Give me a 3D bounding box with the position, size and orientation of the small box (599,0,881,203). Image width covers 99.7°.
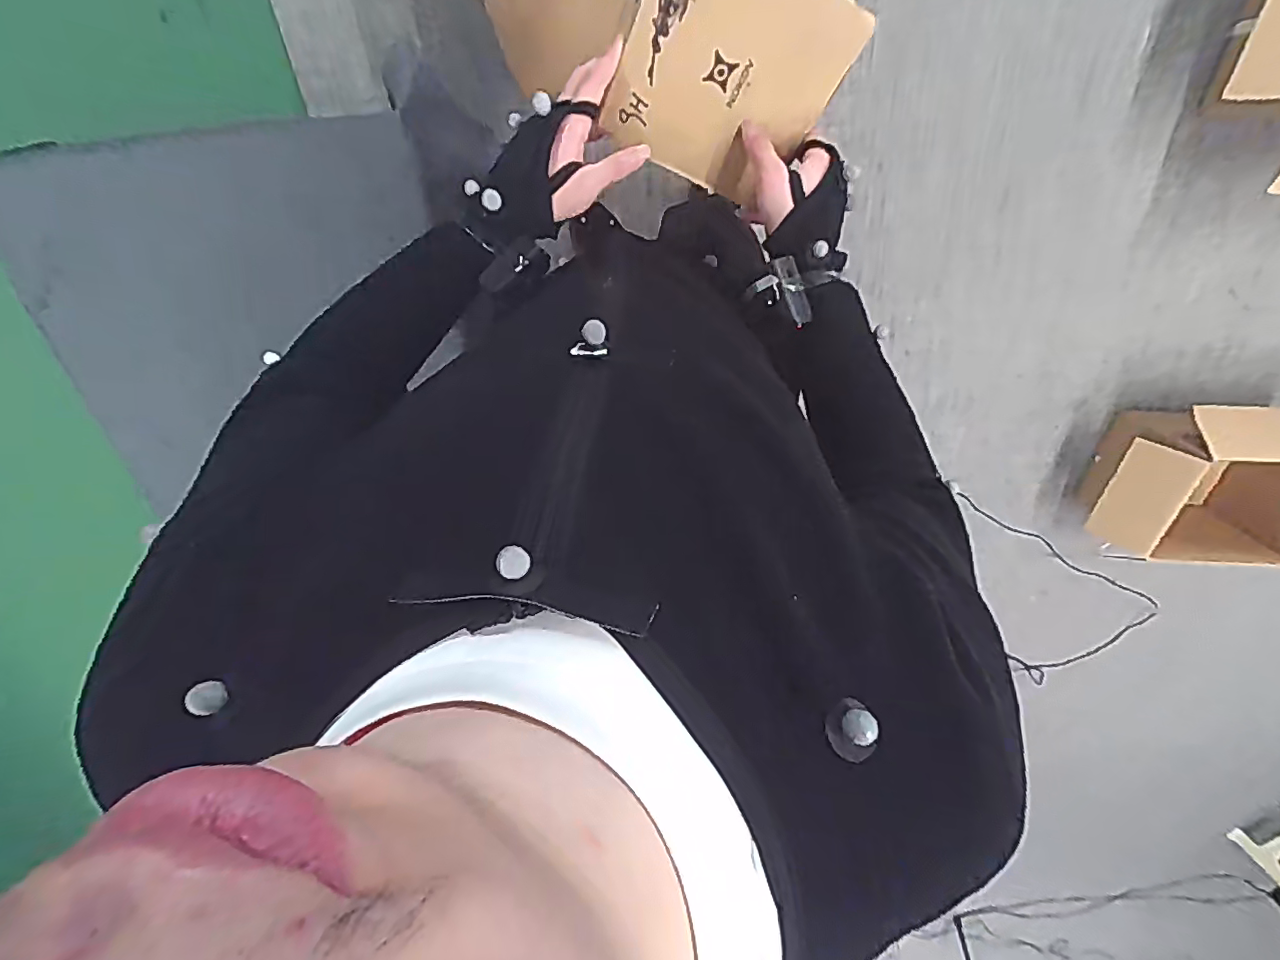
[{"bbox_3d":[0.074,-0.399,0.491,0.179,0.176,0.168,16,137,-21],"label":"small box"}]
